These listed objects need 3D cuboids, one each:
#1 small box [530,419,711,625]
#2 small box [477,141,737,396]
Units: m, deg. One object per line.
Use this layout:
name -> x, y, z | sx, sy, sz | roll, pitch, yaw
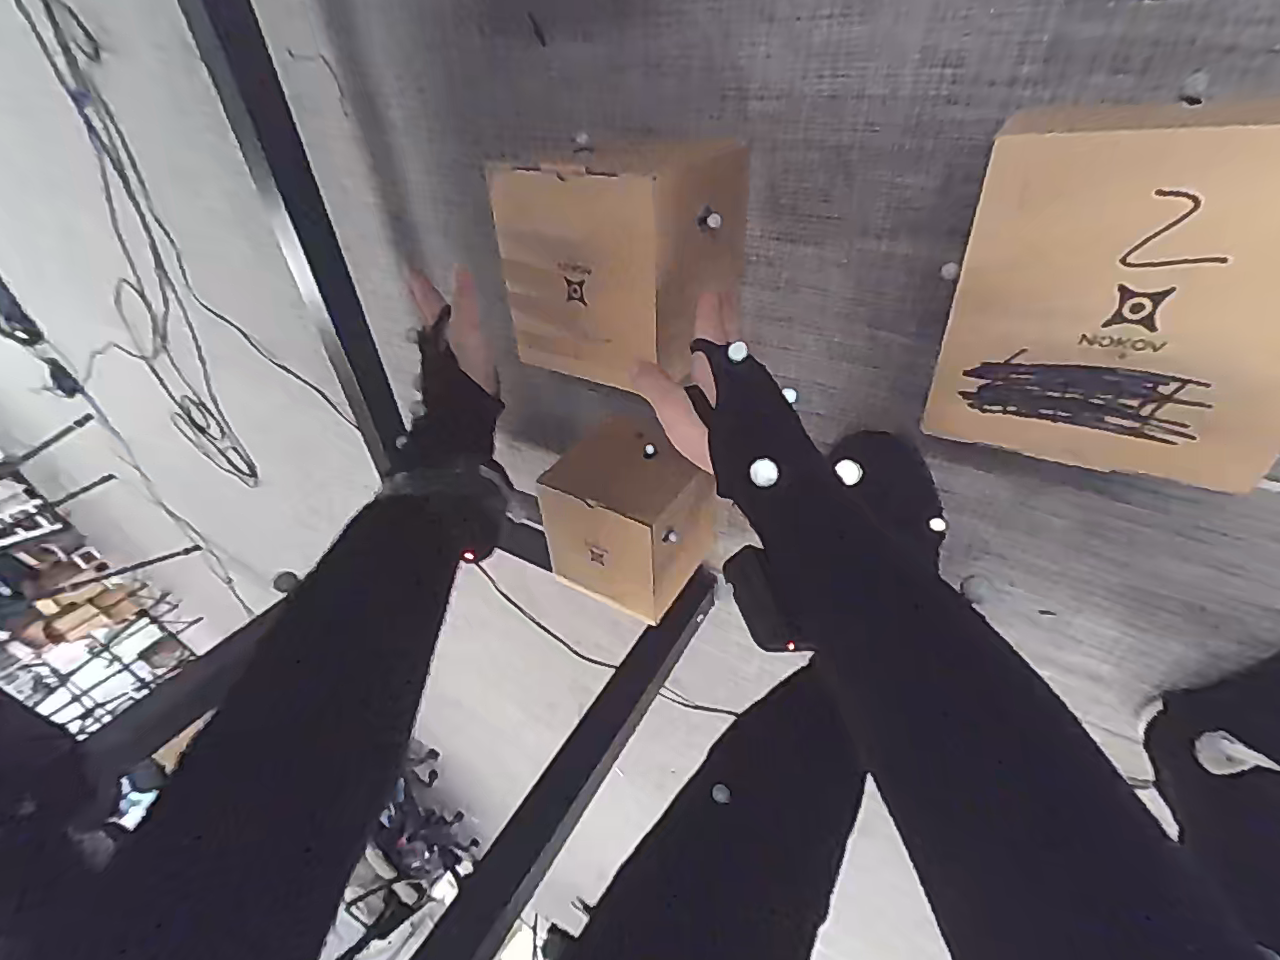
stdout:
small box -> -0.015, 0.047, 0.709 | 0.168, 0.176, 0.179 | 18, 132, 27
small box -> -0.019, -0.208, 0.507 | 0.168, 0.176, 0.179 | 20, 133, 26
